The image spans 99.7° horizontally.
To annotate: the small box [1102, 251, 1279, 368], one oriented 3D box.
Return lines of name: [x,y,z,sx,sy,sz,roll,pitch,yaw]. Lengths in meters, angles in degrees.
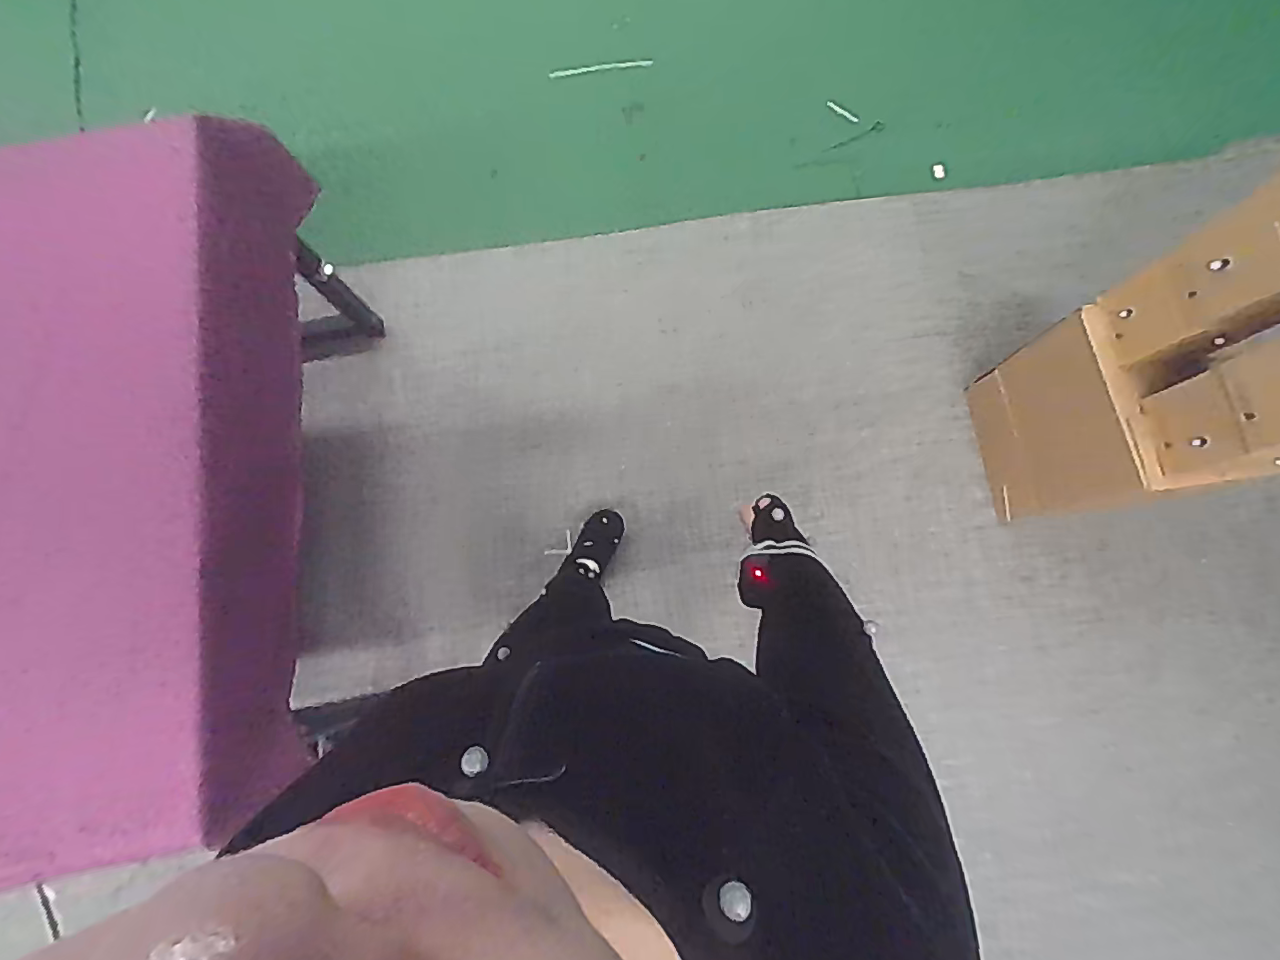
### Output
small box: [1.067,-0.332,1.050,0.179,0.176,0.168,-7,78,1]

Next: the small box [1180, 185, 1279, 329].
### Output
small box: [1.056,-0.365,0.890,0.179,0.176,0.168,-6,79,2]

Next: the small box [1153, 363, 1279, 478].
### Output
small box: [1.108,-0.104,0.997,0.179,0.176,0.168,-4,77,0]
